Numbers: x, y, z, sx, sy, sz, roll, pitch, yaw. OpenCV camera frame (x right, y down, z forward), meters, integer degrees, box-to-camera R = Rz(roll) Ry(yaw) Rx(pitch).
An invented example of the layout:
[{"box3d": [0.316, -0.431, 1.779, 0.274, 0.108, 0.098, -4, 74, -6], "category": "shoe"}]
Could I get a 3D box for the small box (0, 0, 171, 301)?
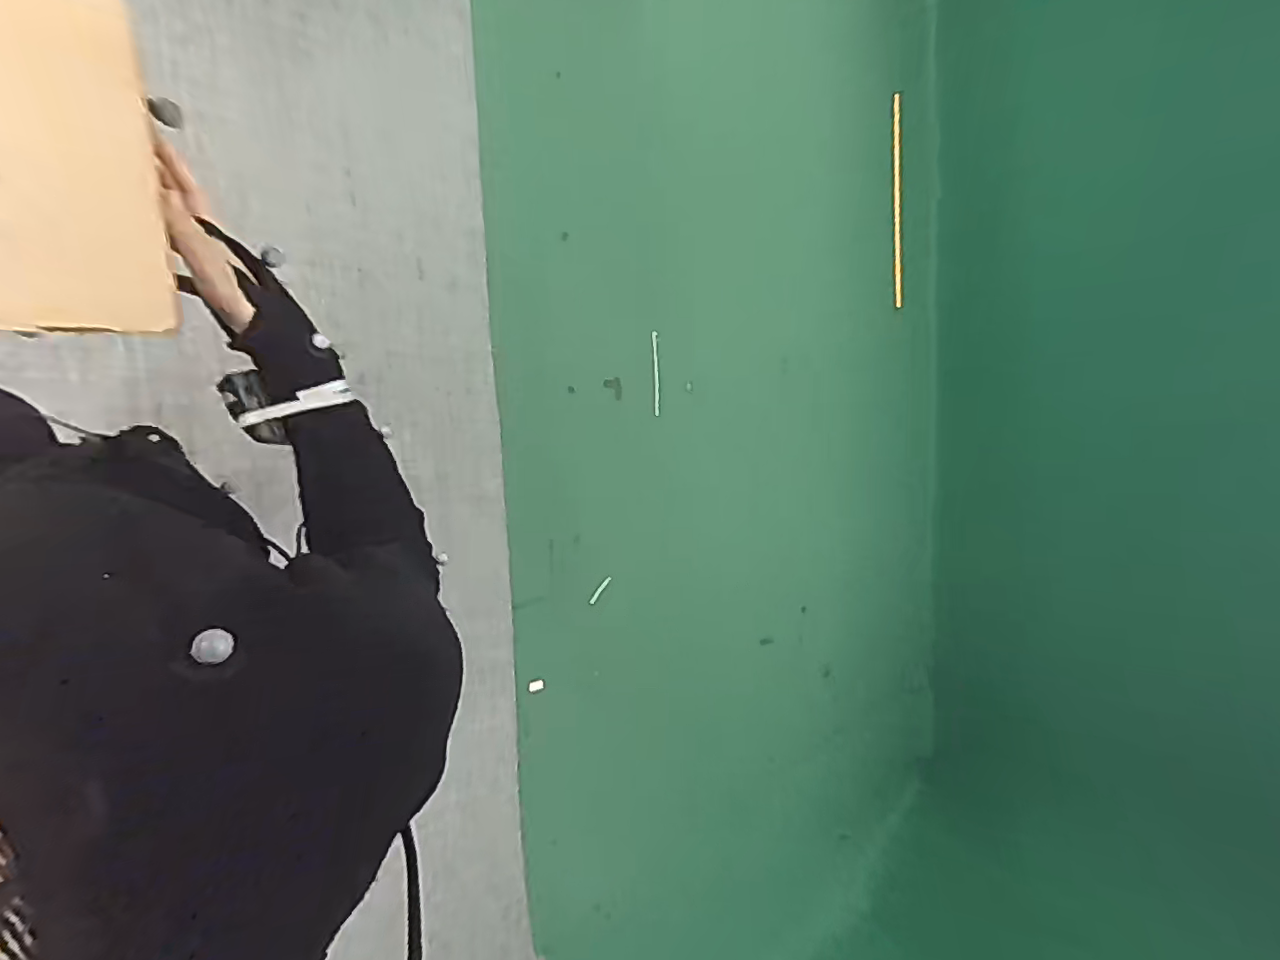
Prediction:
[{"box3d": [-0.396, -0.207, 0.315, 0.168, 0.176, 0.179, -9, 114, -39], "category": "small box"}]
